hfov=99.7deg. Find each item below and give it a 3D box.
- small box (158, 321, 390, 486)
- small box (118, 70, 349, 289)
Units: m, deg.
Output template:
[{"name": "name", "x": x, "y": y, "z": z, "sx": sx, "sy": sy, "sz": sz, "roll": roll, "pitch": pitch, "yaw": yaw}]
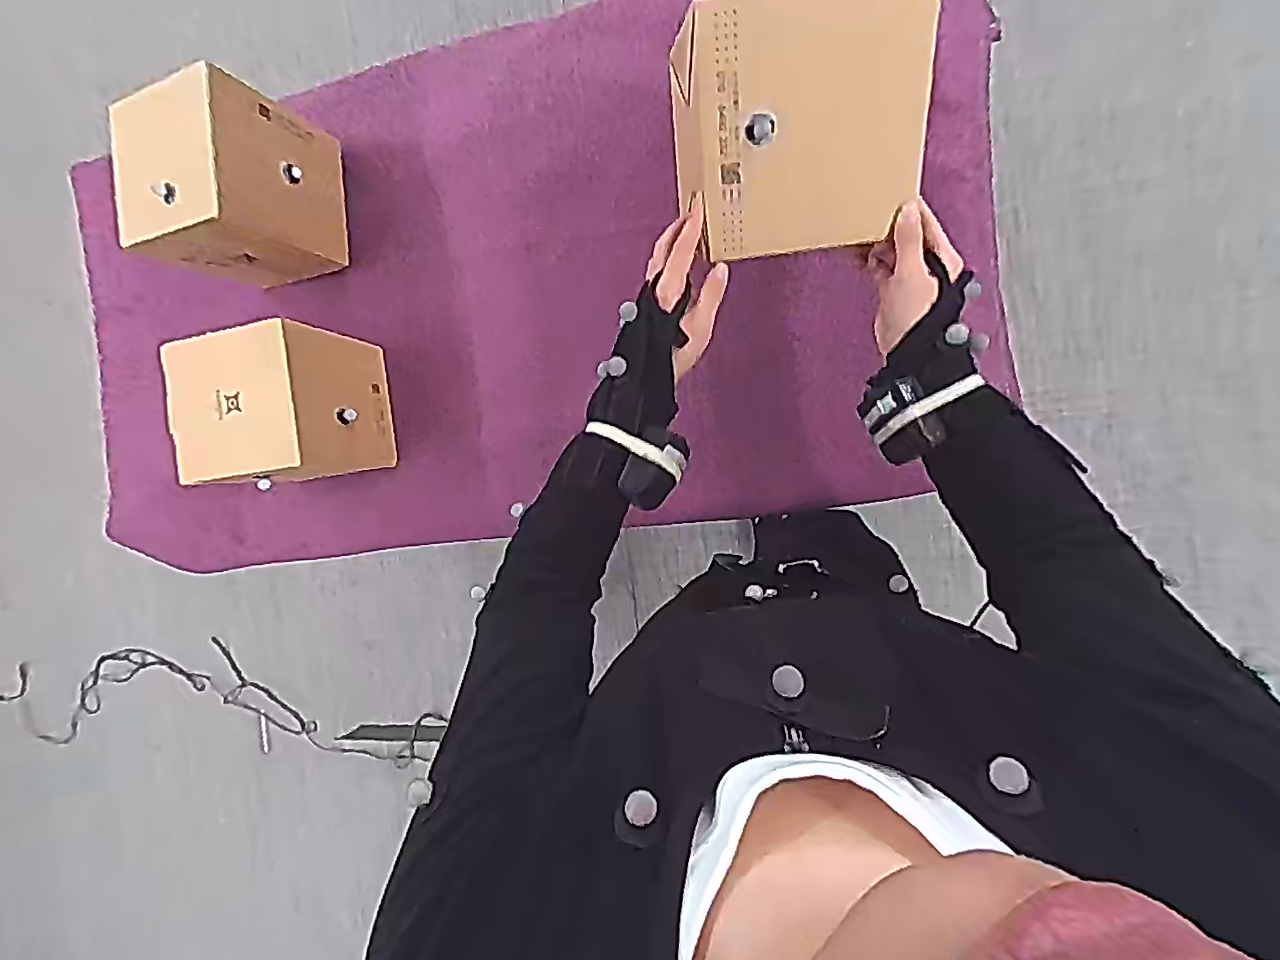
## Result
[{"name": "small box", "x": -0.440, "y": -0.087, "z": 0.680, "sx": 0.179, "sy": 0.176, "sz": 0.168, "roll": -8, "pitch": 91, "yaw": 13}, {"name": "small box", "x": -0.498, "y": -0.356, "z": 0.668, "sx": 0.179, "sy": 0.168, "sz": 0.176, "roll": -3, "pitch": 91, "yaw": 20}]
